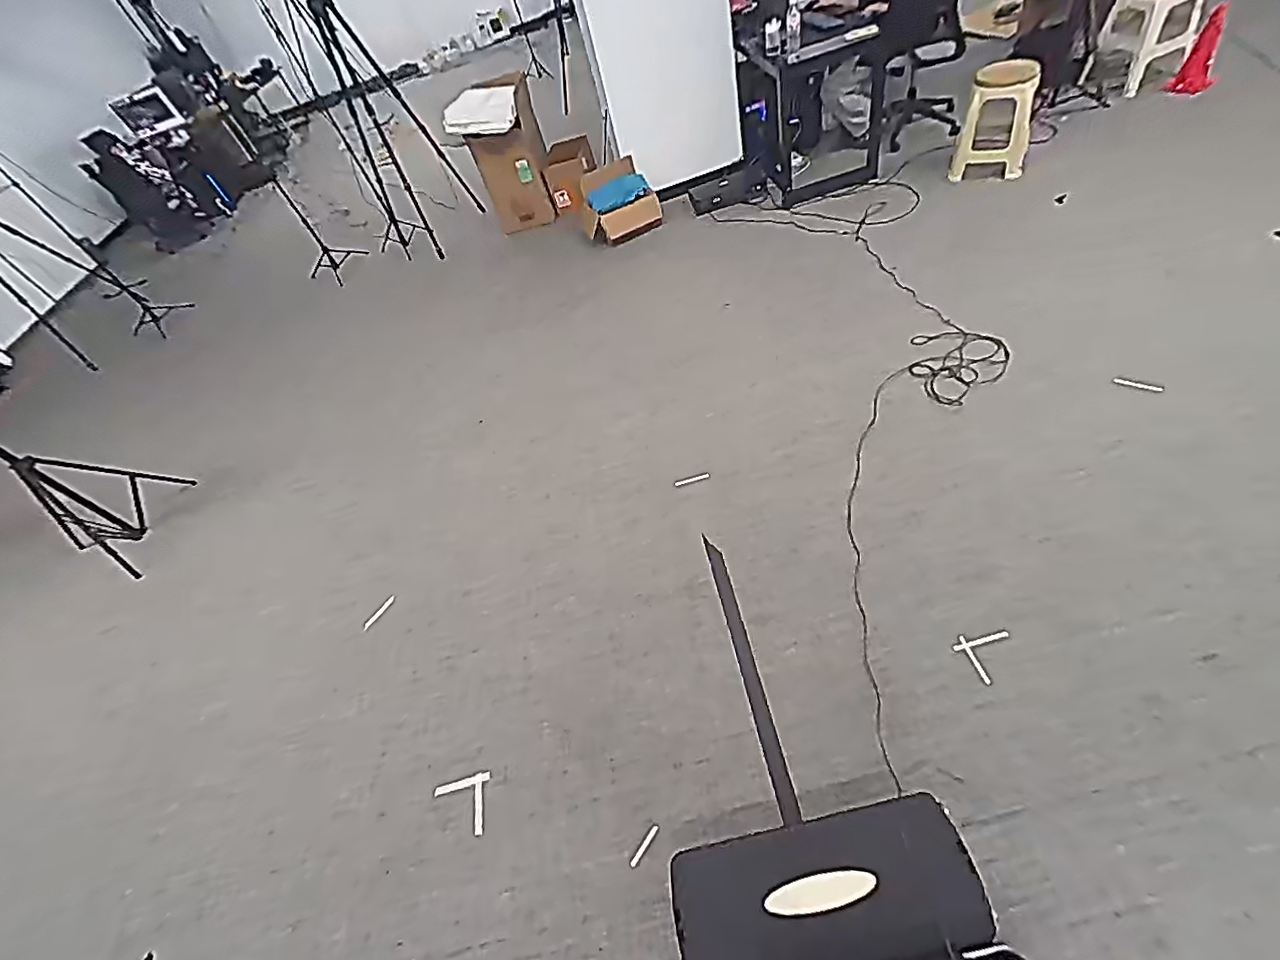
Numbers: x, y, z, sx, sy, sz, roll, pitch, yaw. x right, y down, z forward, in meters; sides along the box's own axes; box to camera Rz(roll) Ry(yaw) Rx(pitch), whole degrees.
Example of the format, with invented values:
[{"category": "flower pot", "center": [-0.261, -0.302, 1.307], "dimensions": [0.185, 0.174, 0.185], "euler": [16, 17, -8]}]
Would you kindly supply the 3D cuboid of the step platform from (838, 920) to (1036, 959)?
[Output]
[{"category": "step platform", "center": [0.454, 1.084, 1.021], "dimensions": [0.684, 0.204, 0.286], "euler": [-18, 48, 4]}]
